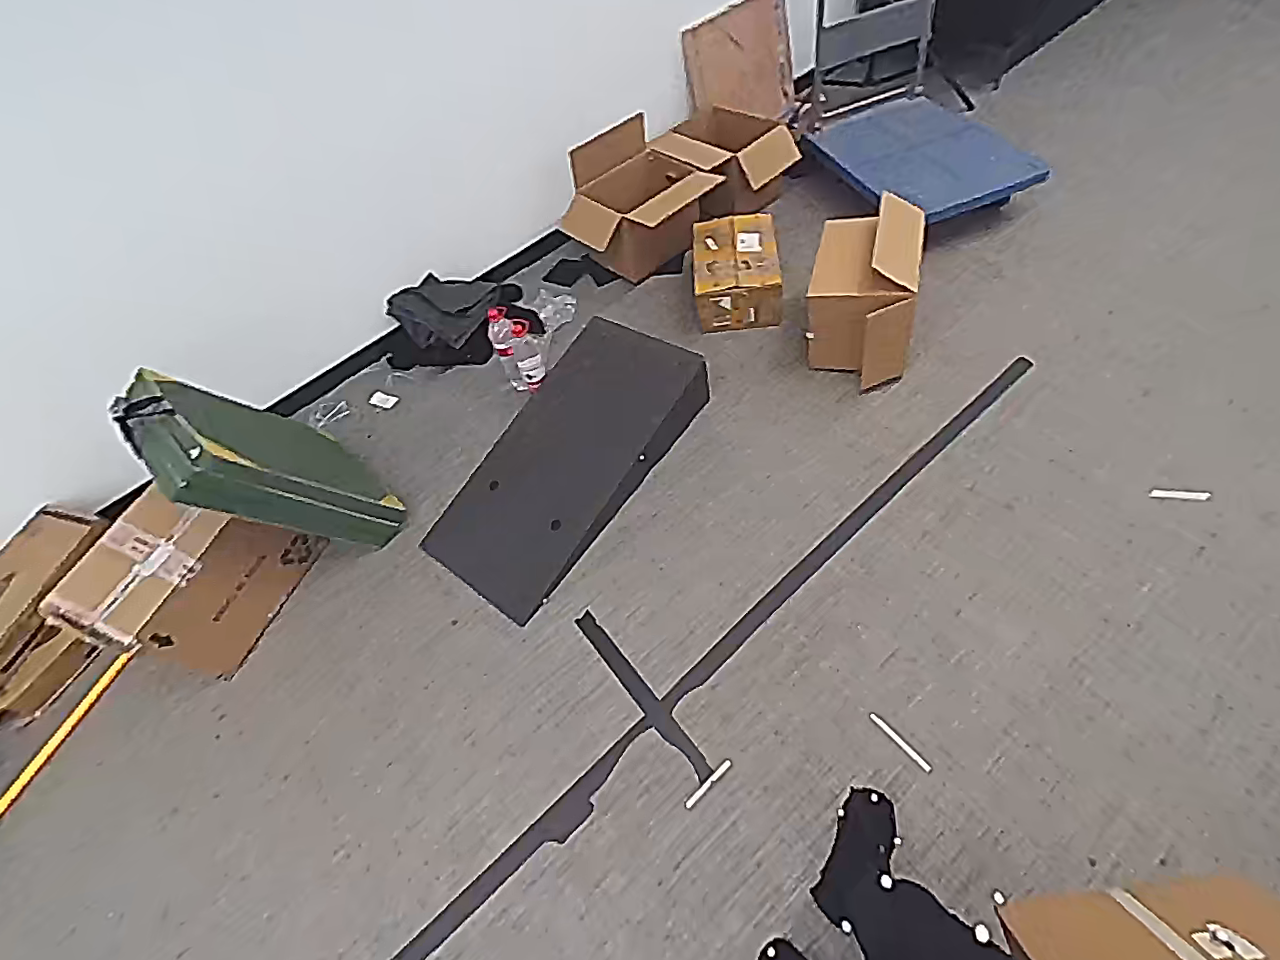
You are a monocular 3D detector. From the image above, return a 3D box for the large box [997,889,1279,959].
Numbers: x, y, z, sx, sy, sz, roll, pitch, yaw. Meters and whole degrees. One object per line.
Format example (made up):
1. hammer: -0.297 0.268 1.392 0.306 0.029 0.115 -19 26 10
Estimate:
1. large box: 0.648 0.691 0.528 0.320 0.408 0.320 -14 75 9
